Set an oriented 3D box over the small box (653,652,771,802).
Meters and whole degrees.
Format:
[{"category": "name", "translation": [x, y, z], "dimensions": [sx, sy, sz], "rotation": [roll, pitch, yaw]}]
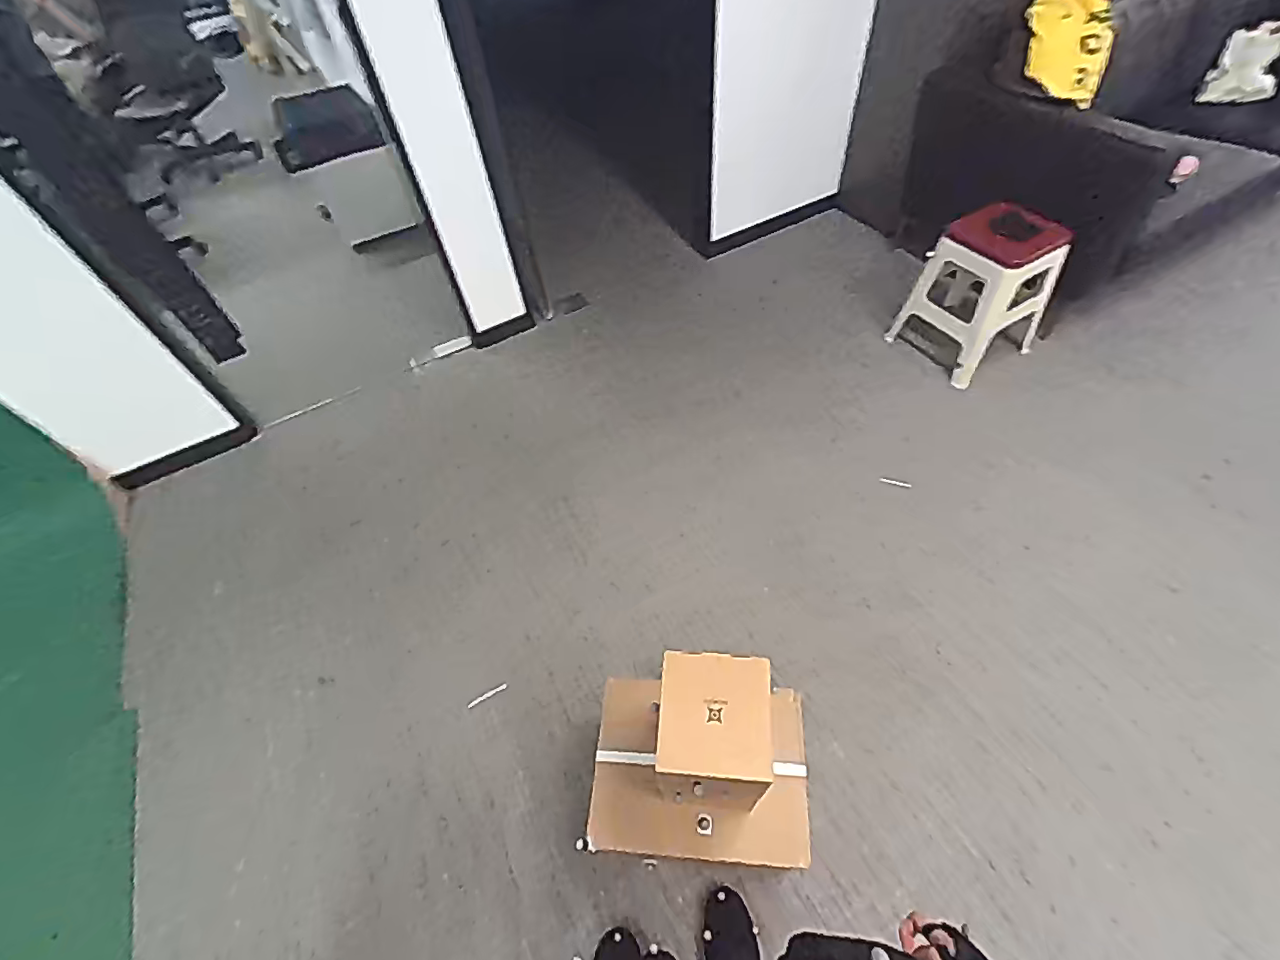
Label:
[{"category": "small box", "translation": [0.114, 0.392, 0.852], "dimensions": [0.168, 0.176, 0.179], "rotation": [2, 50, 7]}]
